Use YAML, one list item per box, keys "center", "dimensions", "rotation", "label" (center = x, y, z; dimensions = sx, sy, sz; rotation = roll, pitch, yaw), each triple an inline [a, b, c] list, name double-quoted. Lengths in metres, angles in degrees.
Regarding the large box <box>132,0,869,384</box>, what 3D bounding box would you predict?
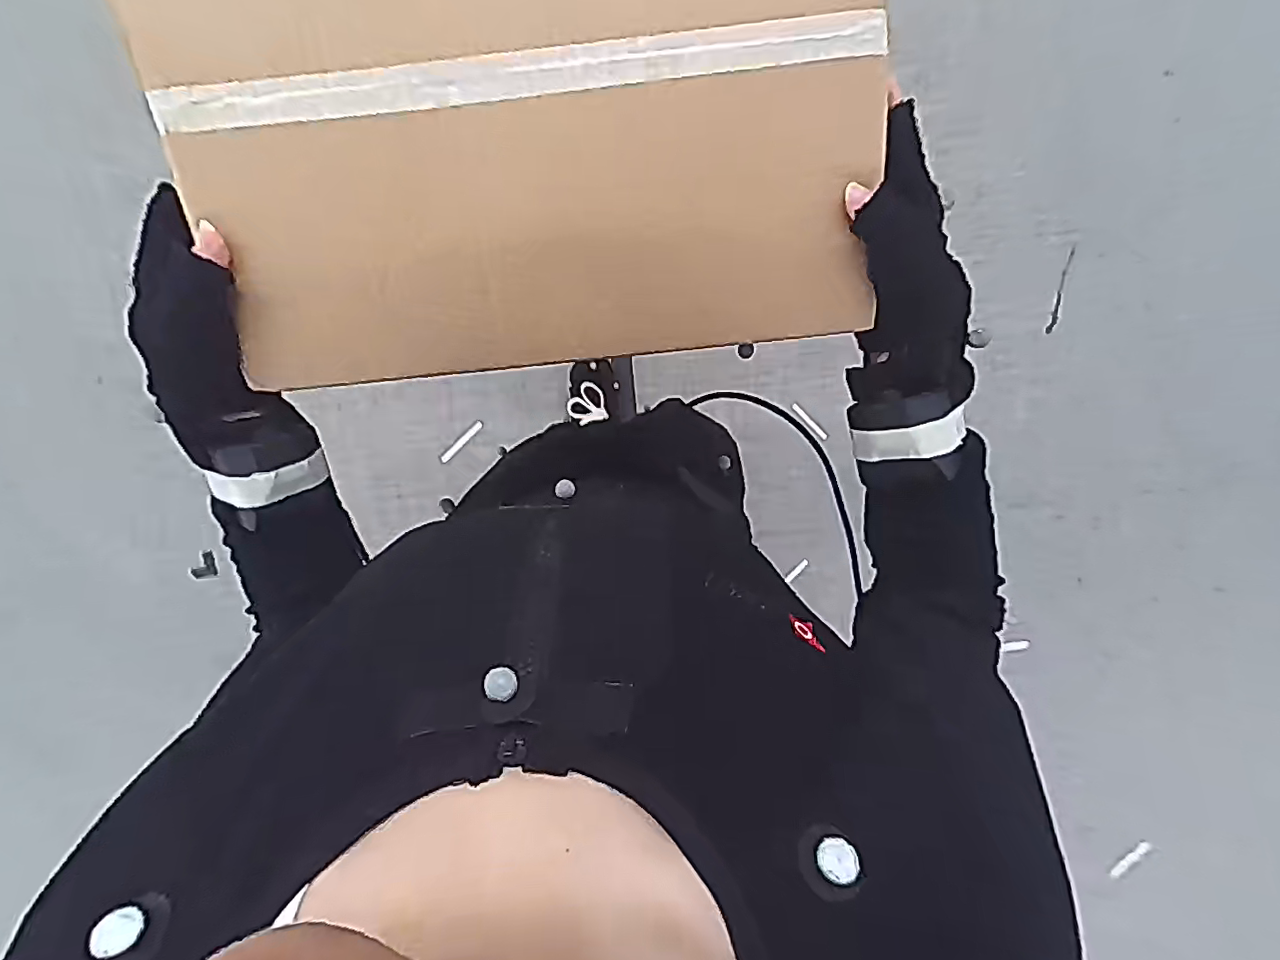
- center: [-0.071, -0.280, 0.445]
  dimensions: [0.408, 0.320, 0.320]
  rotation: [-6, 109, 1]
  label: "large box"
